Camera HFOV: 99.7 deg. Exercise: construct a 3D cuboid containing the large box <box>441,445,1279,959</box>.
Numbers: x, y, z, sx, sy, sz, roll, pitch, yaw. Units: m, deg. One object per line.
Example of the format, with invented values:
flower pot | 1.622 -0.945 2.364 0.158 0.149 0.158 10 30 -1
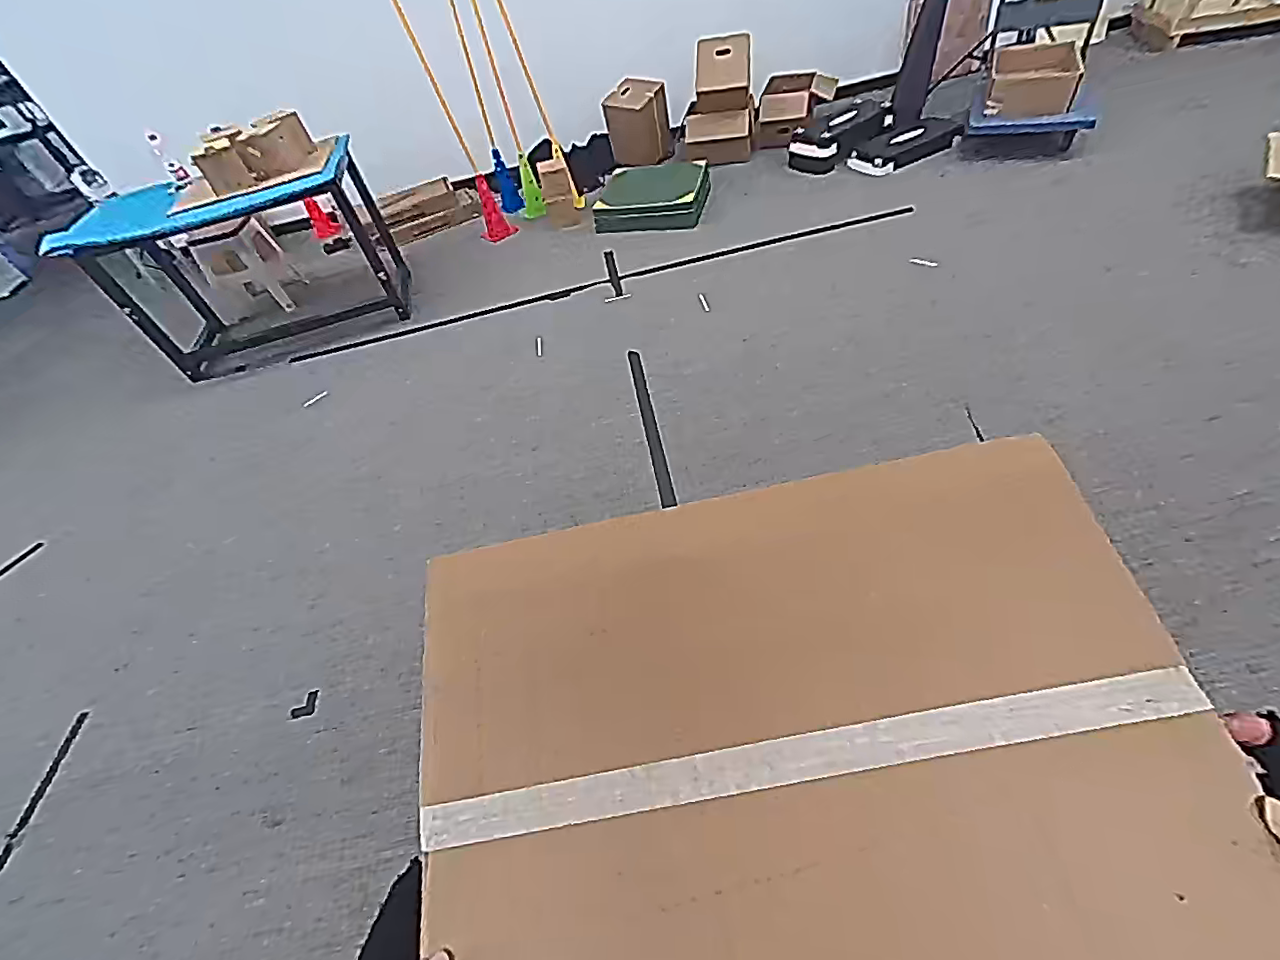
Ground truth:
large box | 0.104 0.219 0.422 0.408 0.320 0.320 -12 63 3
